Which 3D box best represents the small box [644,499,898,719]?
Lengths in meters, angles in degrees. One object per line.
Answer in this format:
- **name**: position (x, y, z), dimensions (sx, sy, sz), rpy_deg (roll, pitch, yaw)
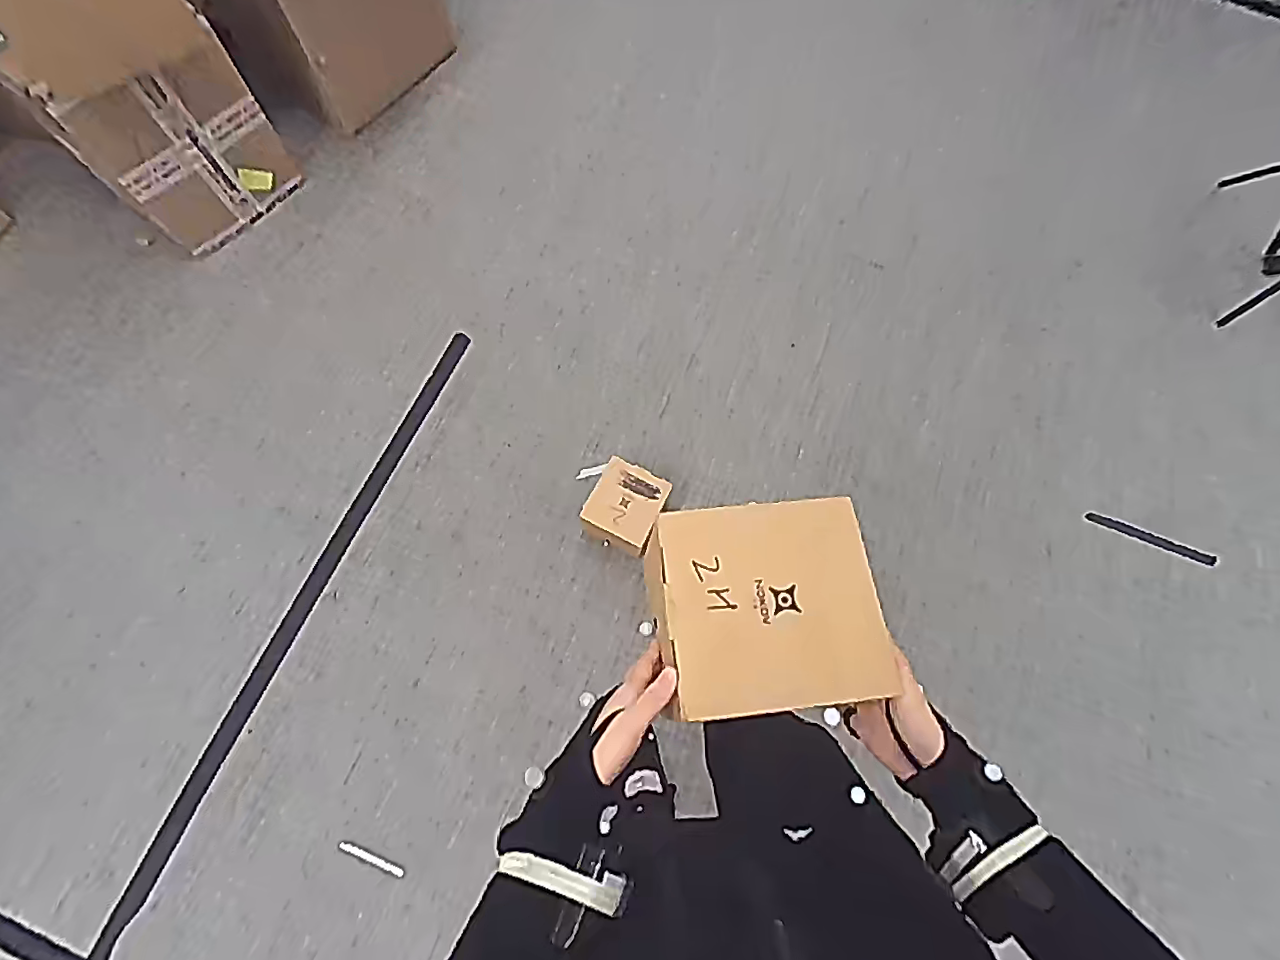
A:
- **small box**: position (0.103, 0.126, 0.513), dimensions (0.179, 0.176, 0.168), rpy_deg (-4, 68, -6)
